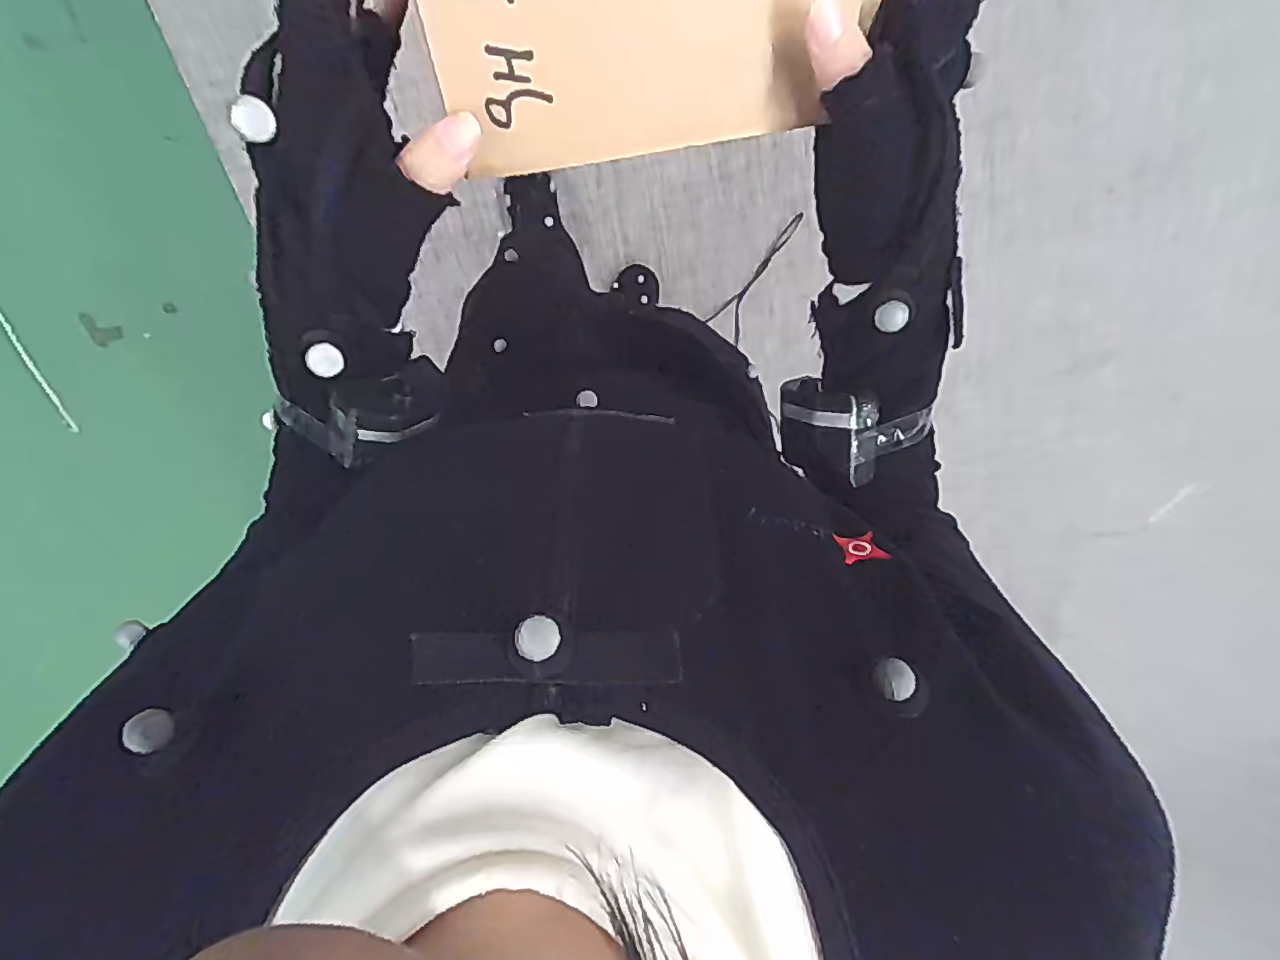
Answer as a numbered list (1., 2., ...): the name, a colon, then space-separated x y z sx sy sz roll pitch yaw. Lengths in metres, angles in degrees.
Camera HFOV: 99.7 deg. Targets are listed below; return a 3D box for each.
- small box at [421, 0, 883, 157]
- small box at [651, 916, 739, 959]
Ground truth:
1. small box: -0.012 -0.255 0.221 0.179 0.176 0.168 -14 135 -9
2. small box: 0.118 1.022 1.087 0.179 0.176 0.168 -10 115 2
